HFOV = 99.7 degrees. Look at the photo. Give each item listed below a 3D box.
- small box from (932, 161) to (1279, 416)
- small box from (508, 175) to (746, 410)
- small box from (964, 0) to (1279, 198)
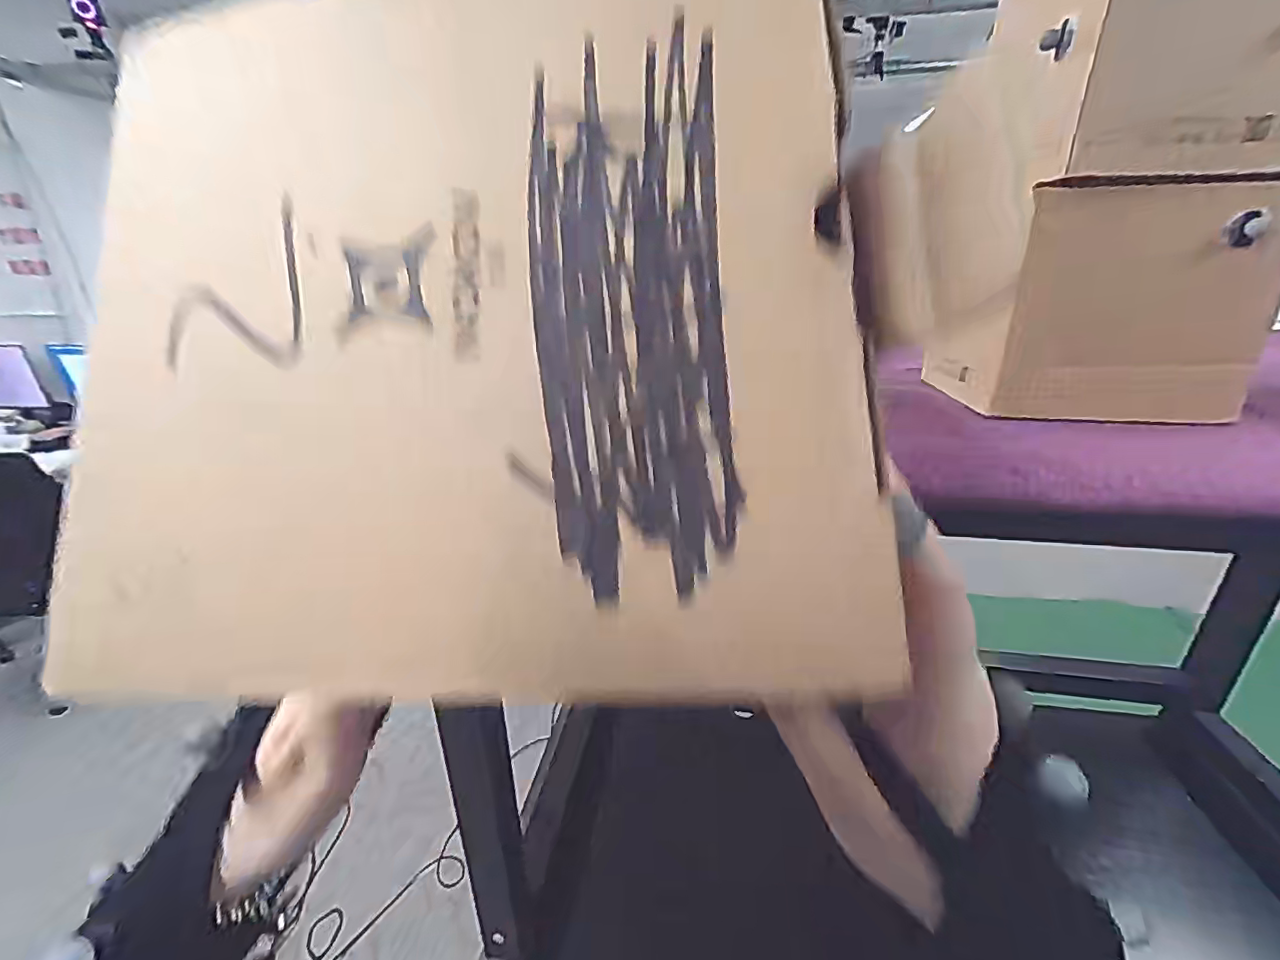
[{"bbox_3d":[0.363,-0.152,0.448,0.179,0.176,0.168,3,21,9],"label":"small box"},{"bbox_3d":[0.002,-0.164,0.484,0.179,0.176,0.168,3,24,8],"label":"small box"},{"bbox_3d":[0.367,-0.303,0.388,0.168,0.176,0.179,4,20,6],"label":"small box"}]
